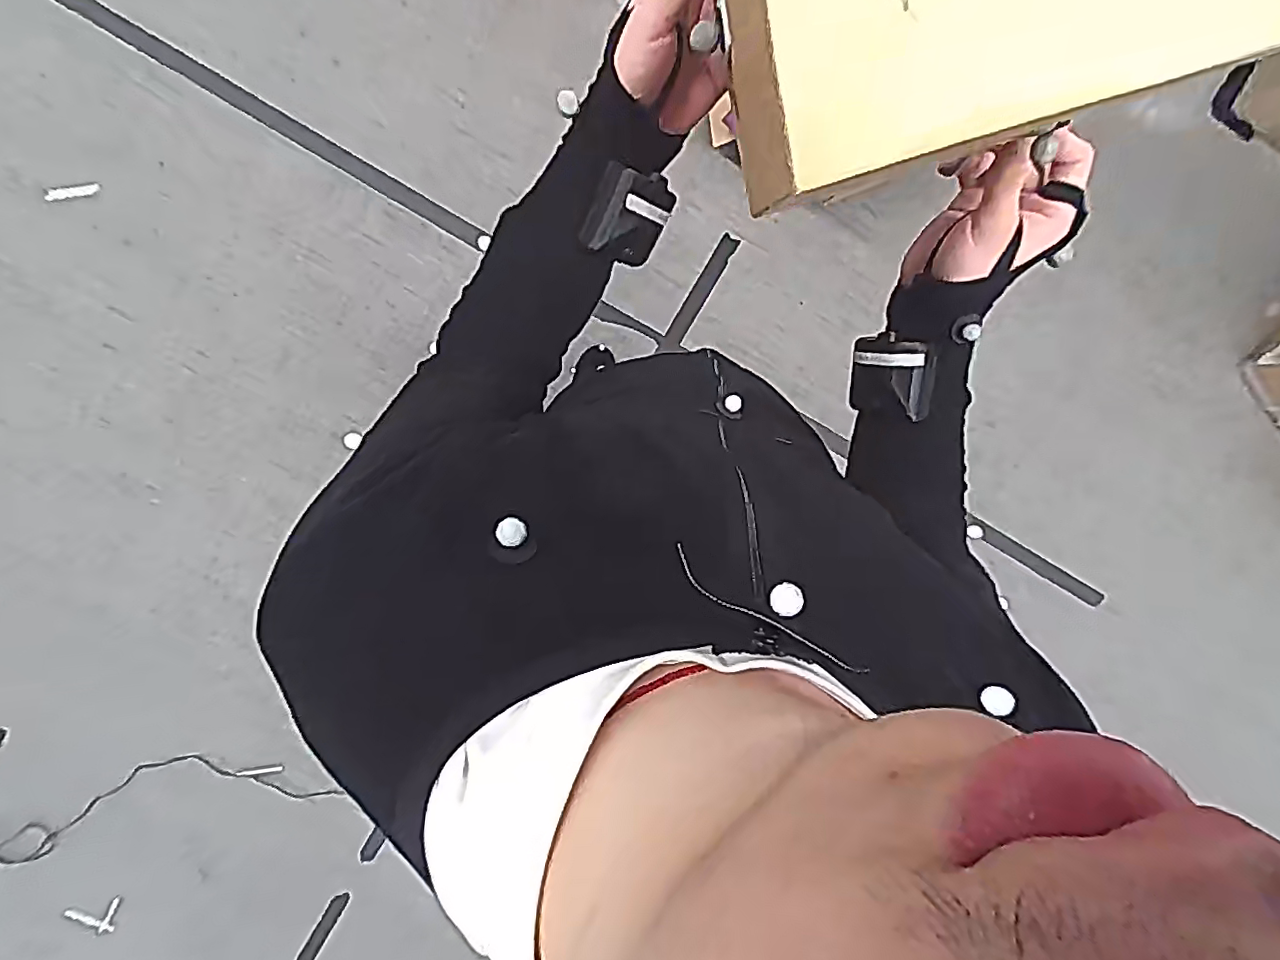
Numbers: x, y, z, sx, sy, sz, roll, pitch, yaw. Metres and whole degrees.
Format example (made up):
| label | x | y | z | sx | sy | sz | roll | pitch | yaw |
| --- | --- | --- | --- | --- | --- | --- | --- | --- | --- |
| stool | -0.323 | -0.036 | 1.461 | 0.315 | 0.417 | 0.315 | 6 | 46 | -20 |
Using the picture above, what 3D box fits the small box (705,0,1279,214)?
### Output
| label | x | y | z | sx | sy | sz | roll | pitch | yaw |
| --- | --- | --- | --- | --- | --- | --- | --- | --- | --- |
| small box | 0.129 | -0.240 | 0.251 | 0.179 | 0.176 | 0.168 | -13 | 109 | 10 |
